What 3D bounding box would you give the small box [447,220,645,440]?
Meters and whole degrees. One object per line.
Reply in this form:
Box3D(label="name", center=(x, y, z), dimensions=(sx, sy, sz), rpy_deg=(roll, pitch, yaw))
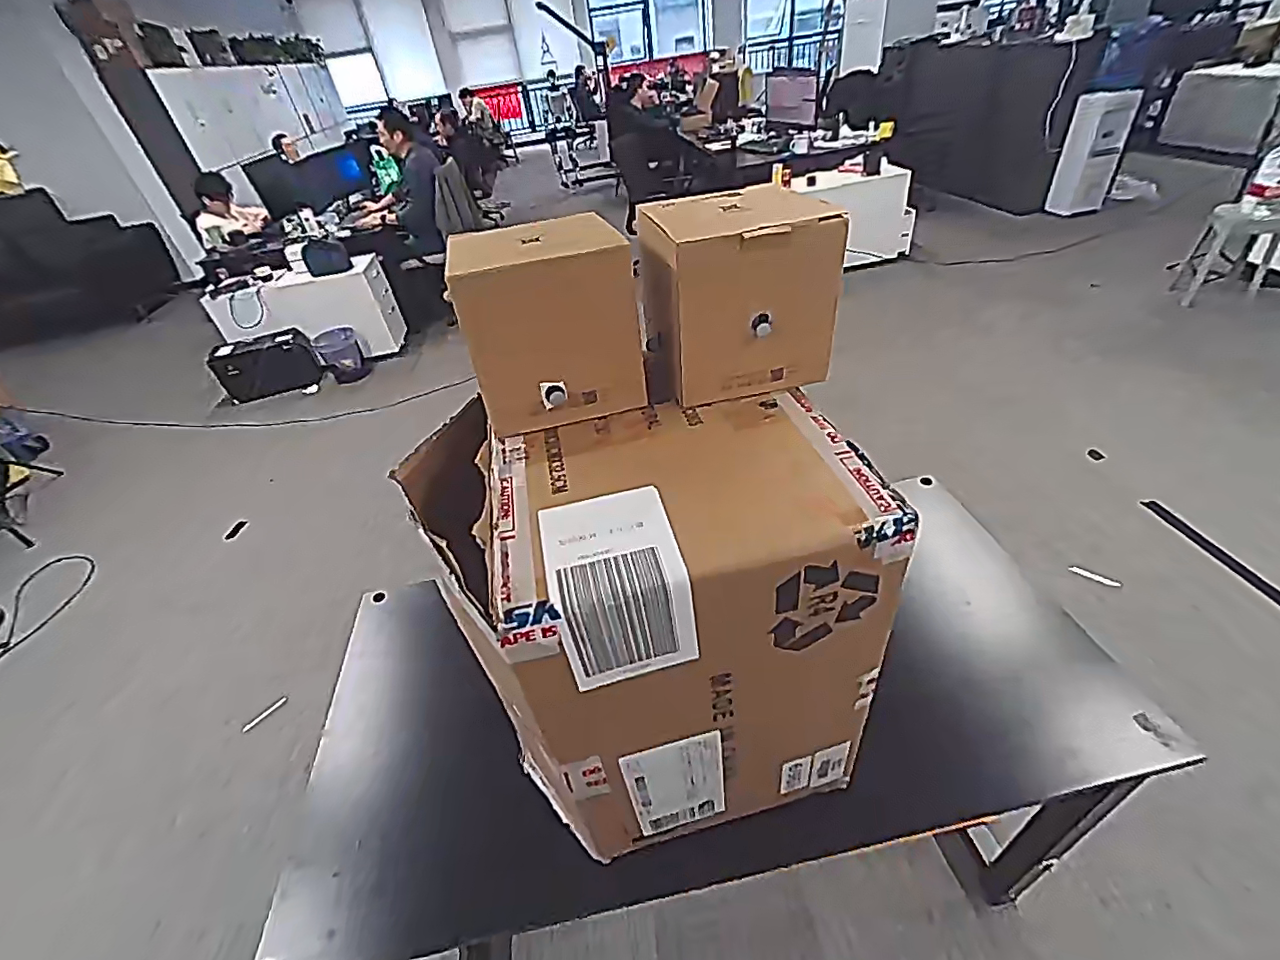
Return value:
Box3D(label="small box", center=(-0.101, -0.167, 0.589), dimensions=(0.168, 0.176, 0.179), rpy_deg=(-15, 38, -9))
